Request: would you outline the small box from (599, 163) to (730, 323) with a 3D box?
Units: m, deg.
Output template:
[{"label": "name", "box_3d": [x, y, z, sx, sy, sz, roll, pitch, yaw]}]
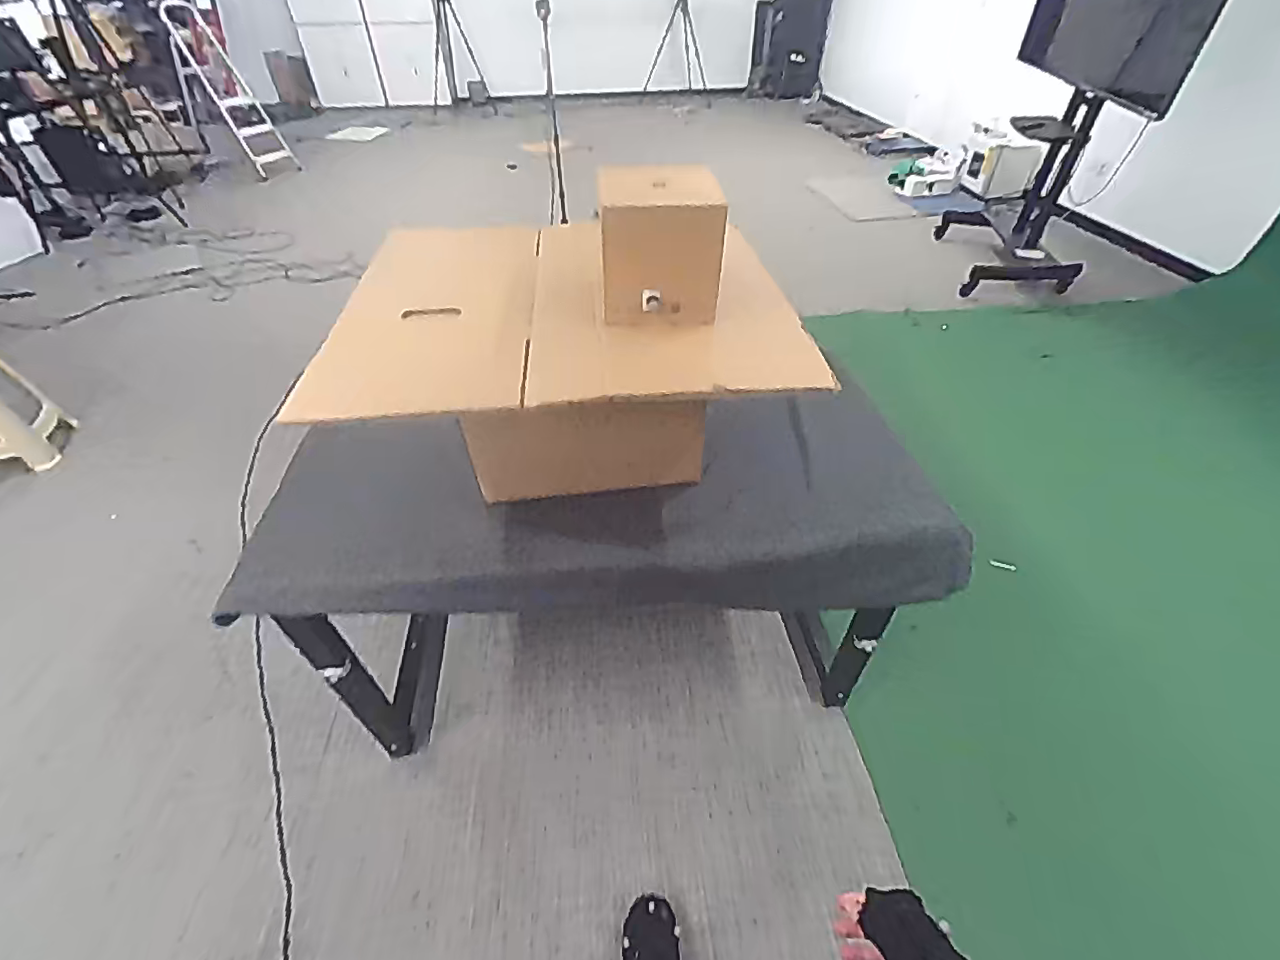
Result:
[{"label": "small box", "box_3d": [0.024, -0.344, 0.787, 0.168, 0.176, 0.179, -3, 45, -4]}]
